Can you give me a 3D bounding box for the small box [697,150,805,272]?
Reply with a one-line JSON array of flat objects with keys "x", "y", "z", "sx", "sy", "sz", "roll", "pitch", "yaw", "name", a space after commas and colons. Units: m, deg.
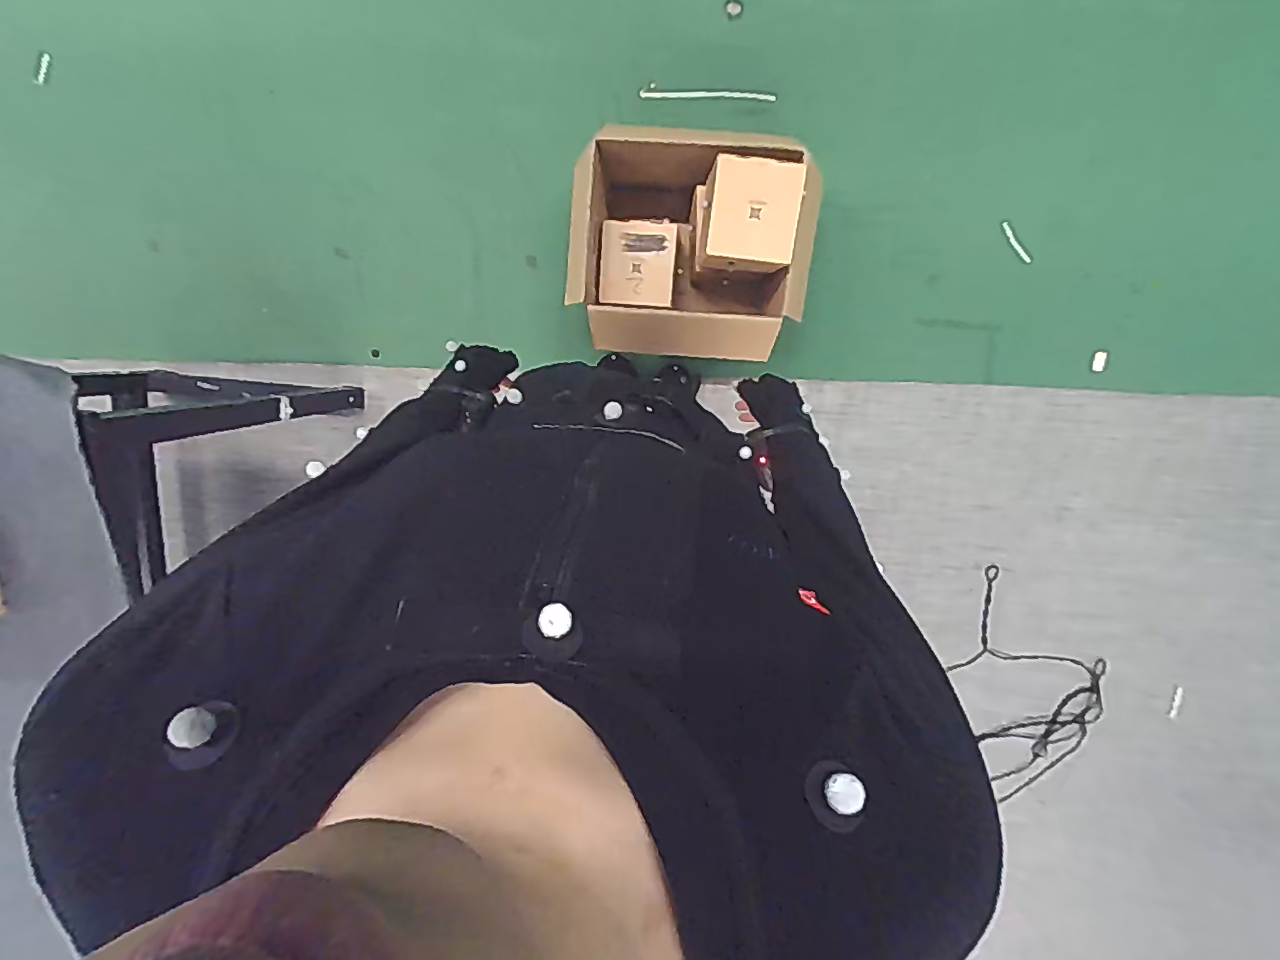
[{"x": 0.209, "y": -0.521, "z": 1.072, "sx": 0.168, "sy": 0.176, "sz": 0.179, "roll": 6, "pitch": 103, "yaw": -1, "name": "small box"}]
